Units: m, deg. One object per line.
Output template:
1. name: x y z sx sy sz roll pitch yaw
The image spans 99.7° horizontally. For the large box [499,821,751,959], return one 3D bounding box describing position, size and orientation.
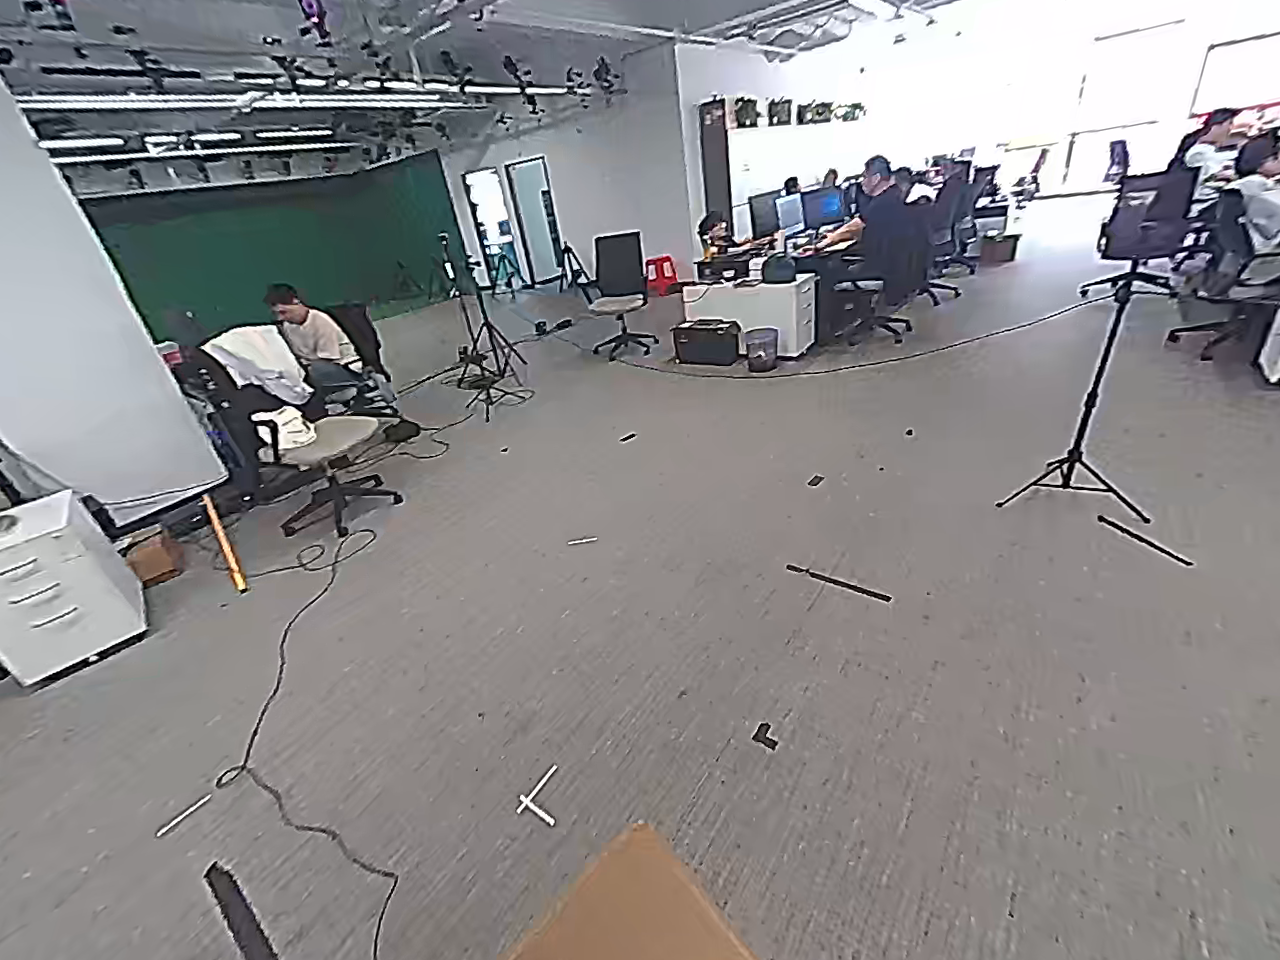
1. large box: -0.060 0.516 0.326 0.408 0.320 0.320 -33 65 -32
